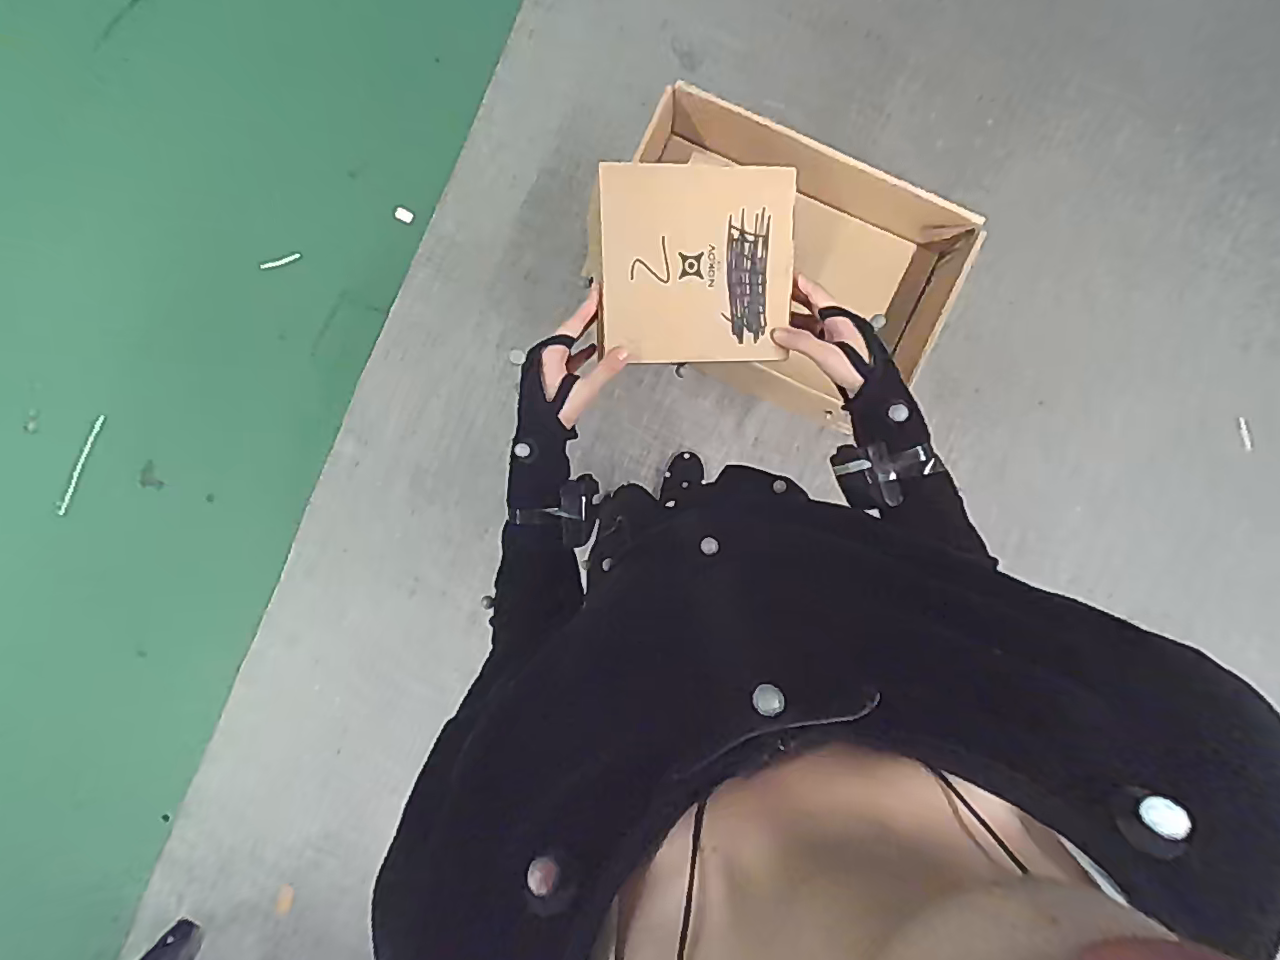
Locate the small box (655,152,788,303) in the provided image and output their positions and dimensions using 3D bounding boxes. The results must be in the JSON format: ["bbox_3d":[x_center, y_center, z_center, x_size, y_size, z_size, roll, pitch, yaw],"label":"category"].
[{"bbox_3d":[0.141,-0.448,0.993,0.179,0.176,0.168,26,92,1],"label":"small box"}]

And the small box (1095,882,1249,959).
[{"bbox_3d":[1.201,1.076,1.231,0.168,0.176,0.179,23,91,3],"label":"small box"}]

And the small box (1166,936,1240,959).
[{"bbox_3d":[1.179,1.075,1.069,0.168,0.176,0.179,21,91,2],"label":"small box"}]

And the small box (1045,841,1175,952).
[{"bbox_3d":[1.203,1.085,1.395,0.168,0.176,0.179,23,92,2],"label":"small box"}]
